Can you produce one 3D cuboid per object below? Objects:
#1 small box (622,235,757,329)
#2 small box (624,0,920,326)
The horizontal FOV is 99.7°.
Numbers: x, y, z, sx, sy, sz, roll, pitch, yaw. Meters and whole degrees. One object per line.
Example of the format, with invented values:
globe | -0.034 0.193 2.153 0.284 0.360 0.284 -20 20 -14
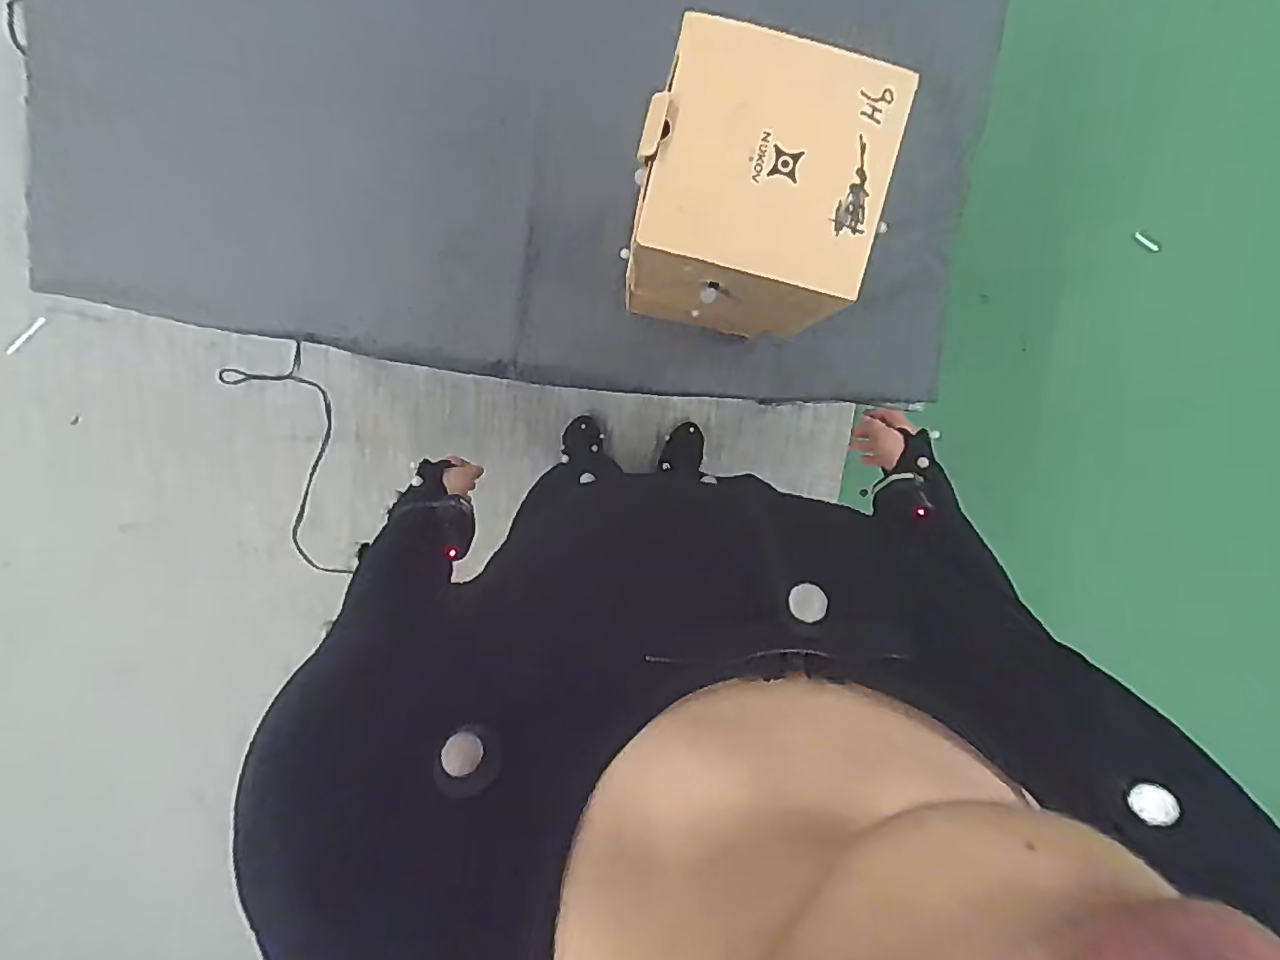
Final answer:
small box | 0.081 -0.278 0.619 0.179 0.176 0.168 11 97 -3
small box | 0.092 -0.240 0.459 0.179 0.176 0.168 14 97 -1
